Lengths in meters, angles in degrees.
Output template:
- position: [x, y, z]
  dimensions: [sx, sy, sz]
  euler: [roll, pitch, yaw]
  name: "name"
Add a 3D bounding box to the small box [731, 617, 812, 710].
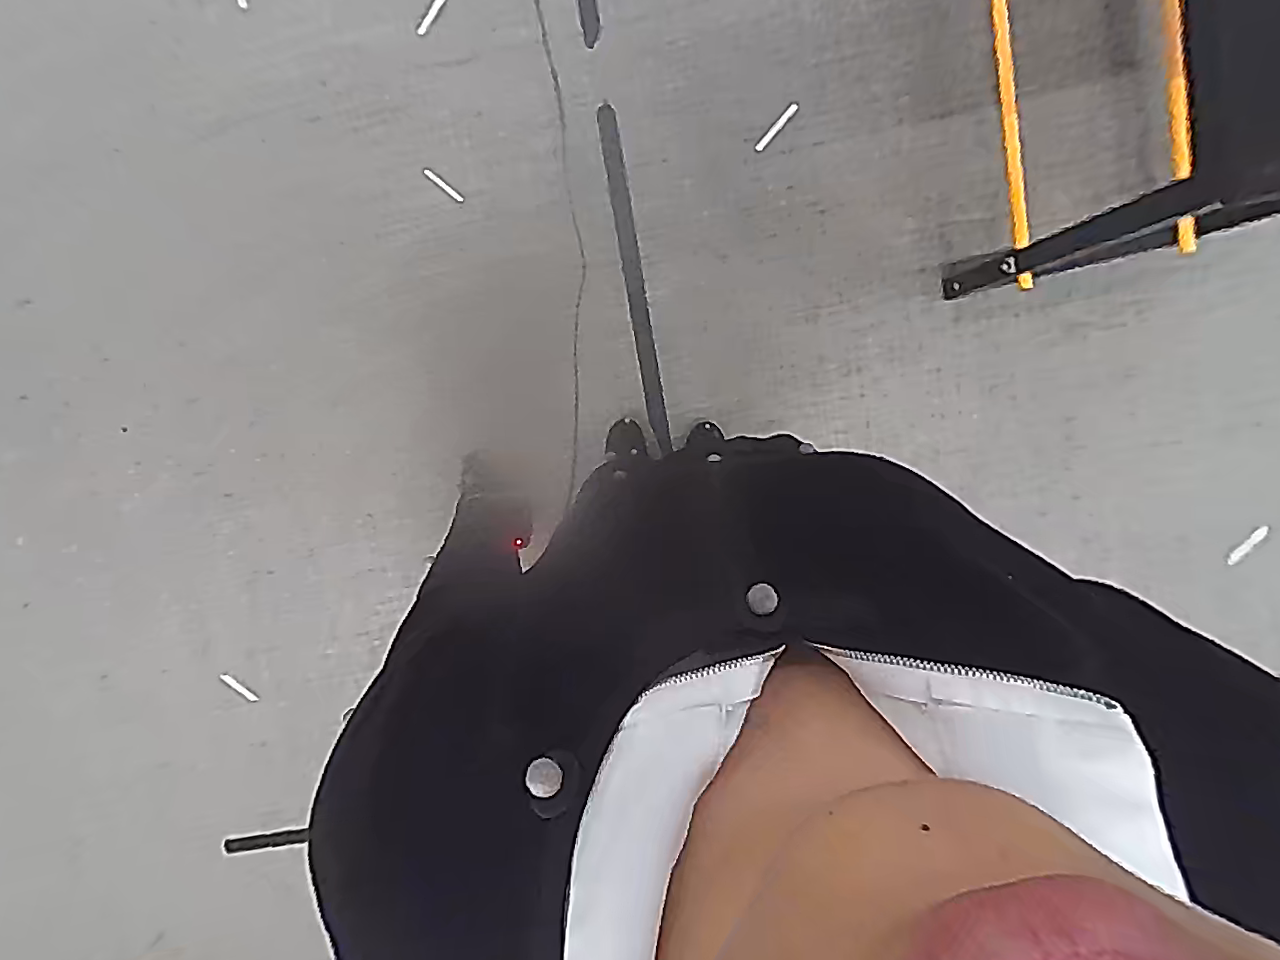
- position: [0.349, 0.494, 1.473]
  dimensions: [0.179, 0.176, 0.168]
  euler: [-13, 98, 4]
  name: "small box"
